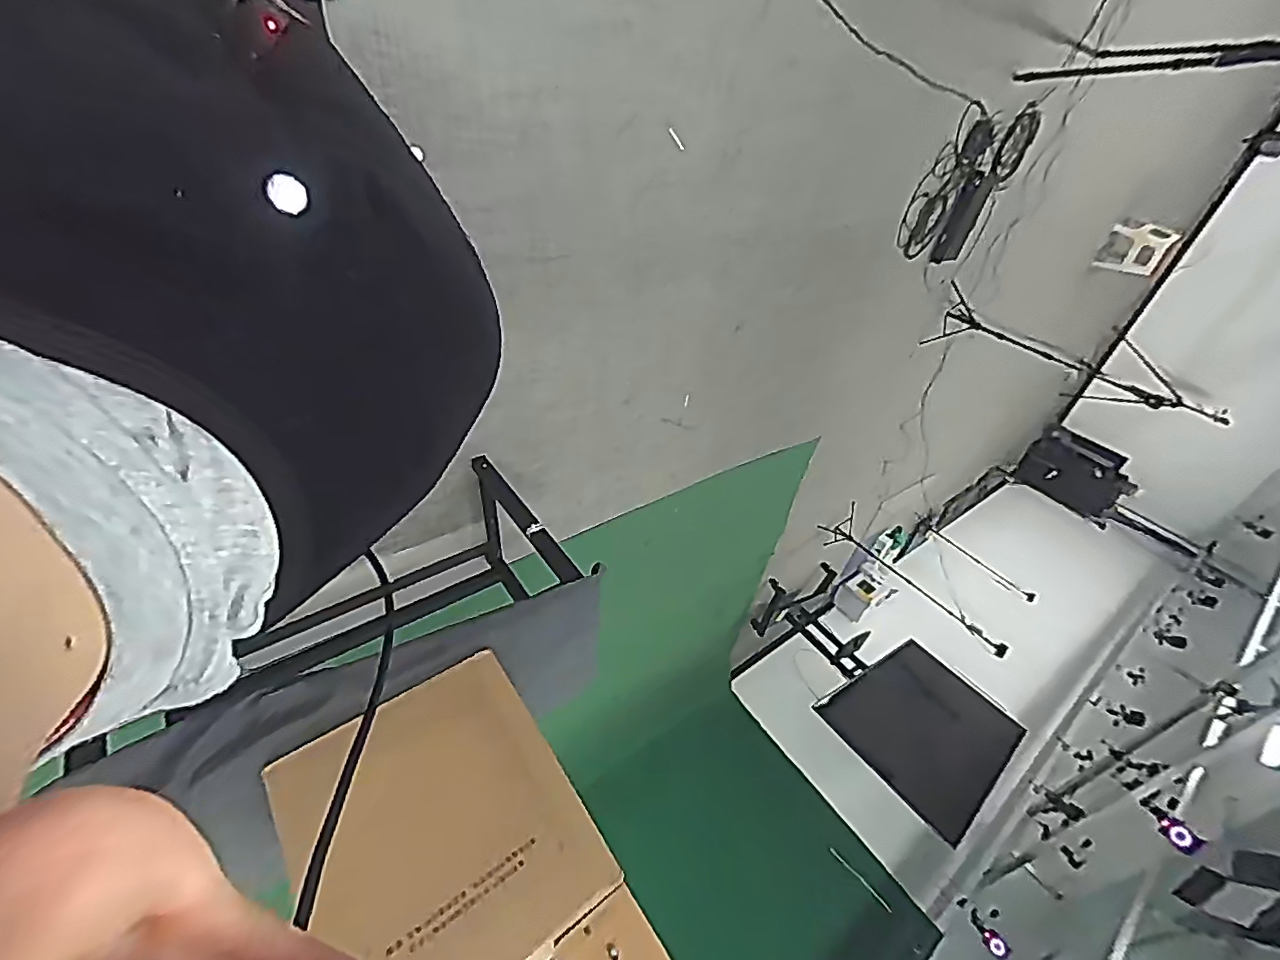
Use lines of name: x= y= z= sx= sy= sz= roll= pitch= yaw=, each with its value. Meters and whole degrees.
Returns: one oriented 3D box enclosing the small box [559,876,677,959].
small box: x=-0.051 y=0.939 z=1.077 sx=0.168 sy=0.176 sz=0.179 roll=-24 pitch=139 yaw=-31
